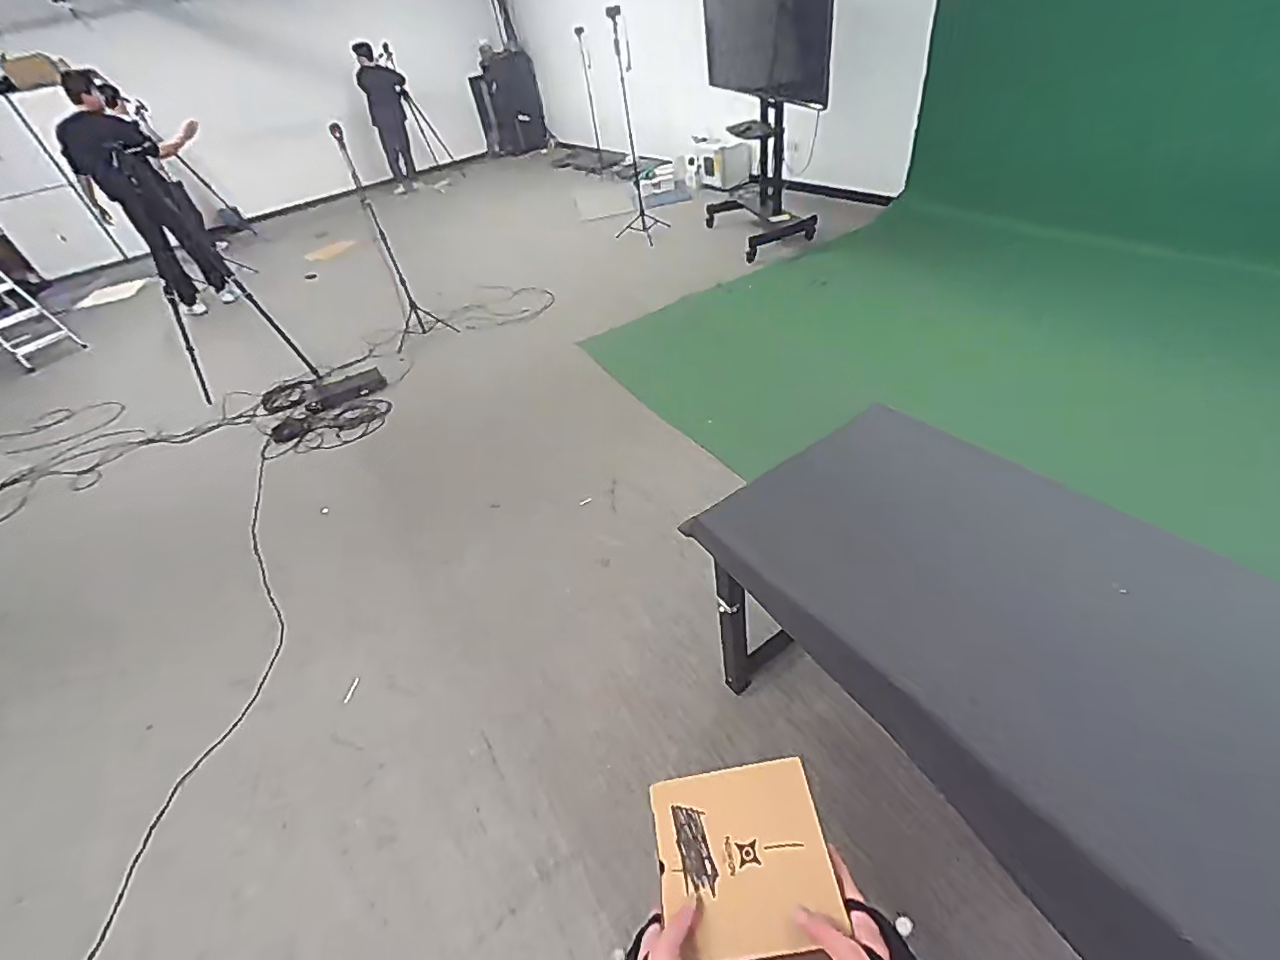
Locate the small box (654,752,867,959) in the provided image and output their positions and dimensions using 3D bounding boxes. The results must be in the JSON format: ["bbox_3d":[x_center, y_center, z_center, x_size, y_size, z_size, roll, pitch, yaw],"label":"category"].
[{"bbox_3d":[0.123,0.426,0.582,0.179,0.176,0.168,-12,39,2],"label":"small box"}]
